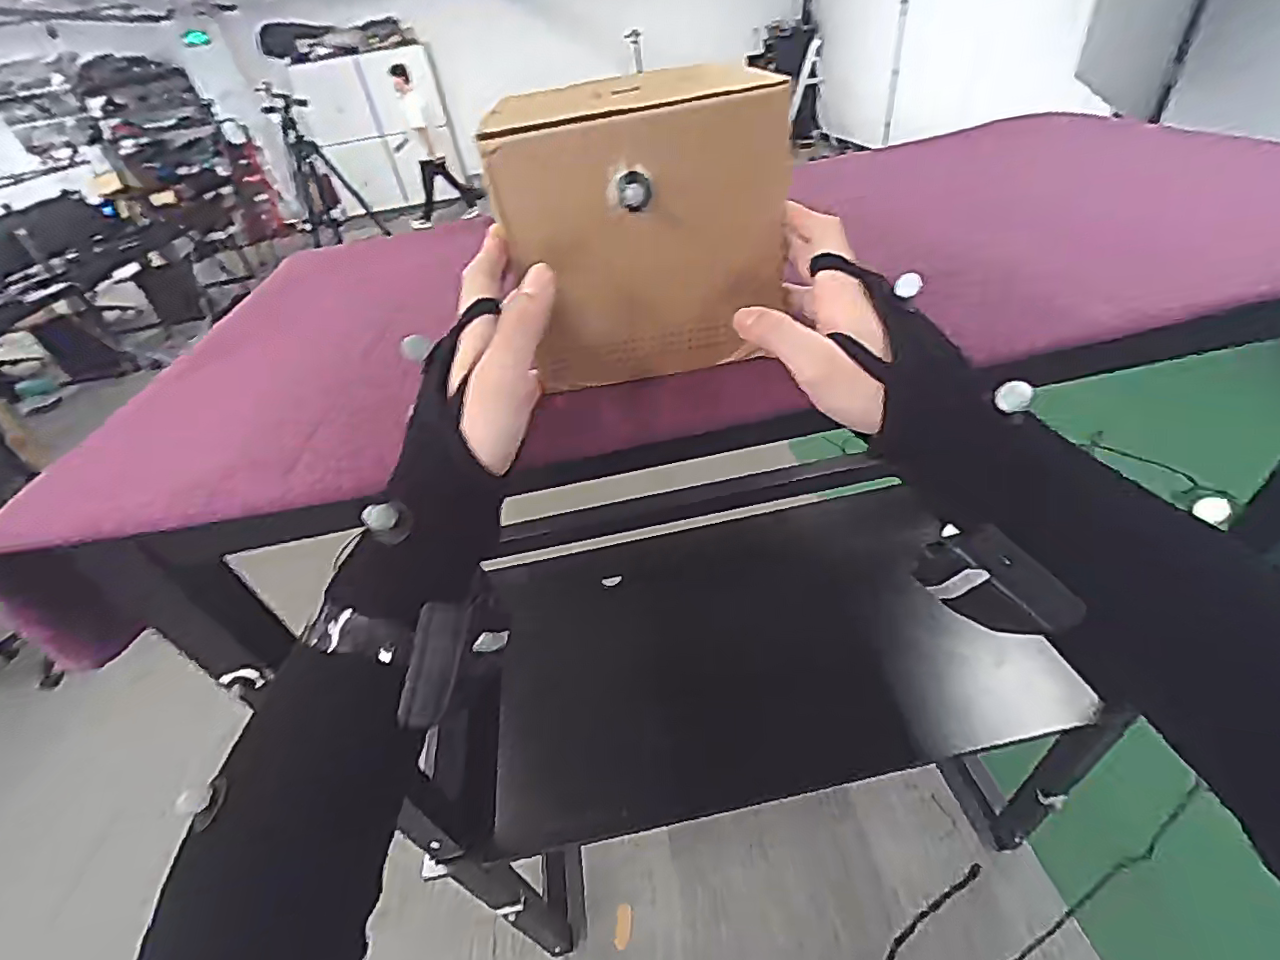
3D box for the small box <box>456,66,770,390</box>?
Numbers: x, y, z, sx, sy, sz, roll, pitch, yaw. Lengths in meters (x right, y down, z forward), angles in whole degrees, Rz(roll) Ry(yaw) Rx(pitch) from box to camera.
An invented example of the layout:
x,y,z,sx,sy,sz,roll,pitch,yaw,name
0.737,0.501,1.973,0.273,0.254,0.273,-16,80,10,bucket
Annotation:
x,y,z,sx,sy,sz,roll,pitch,yaw,name
-0.010,-0.183,0.398,0.179,0.176,0.168,-10,41,0,small box
